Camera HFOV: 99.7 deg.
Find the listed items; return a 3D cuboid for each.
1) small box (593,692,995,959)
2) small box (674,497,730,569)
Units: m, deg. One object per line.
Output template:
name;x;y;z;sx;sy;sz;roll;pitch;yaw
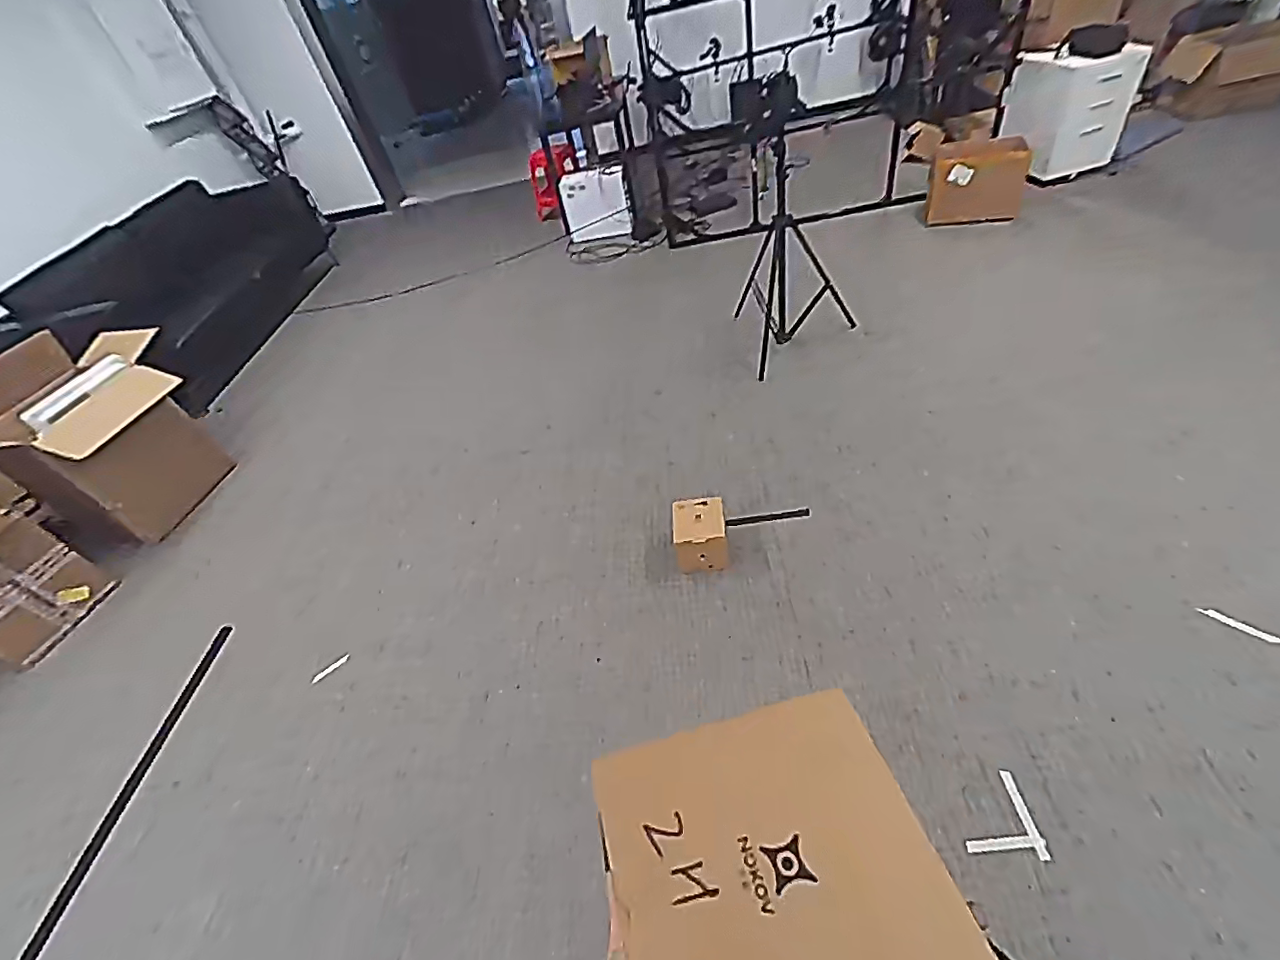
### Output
small box;0.078;0.269;0.343;0.179;0.176;0.168;-13;41;-7
small box;0.207;0.183;1.802;0.168;0.176;0.179;-6;46;9
